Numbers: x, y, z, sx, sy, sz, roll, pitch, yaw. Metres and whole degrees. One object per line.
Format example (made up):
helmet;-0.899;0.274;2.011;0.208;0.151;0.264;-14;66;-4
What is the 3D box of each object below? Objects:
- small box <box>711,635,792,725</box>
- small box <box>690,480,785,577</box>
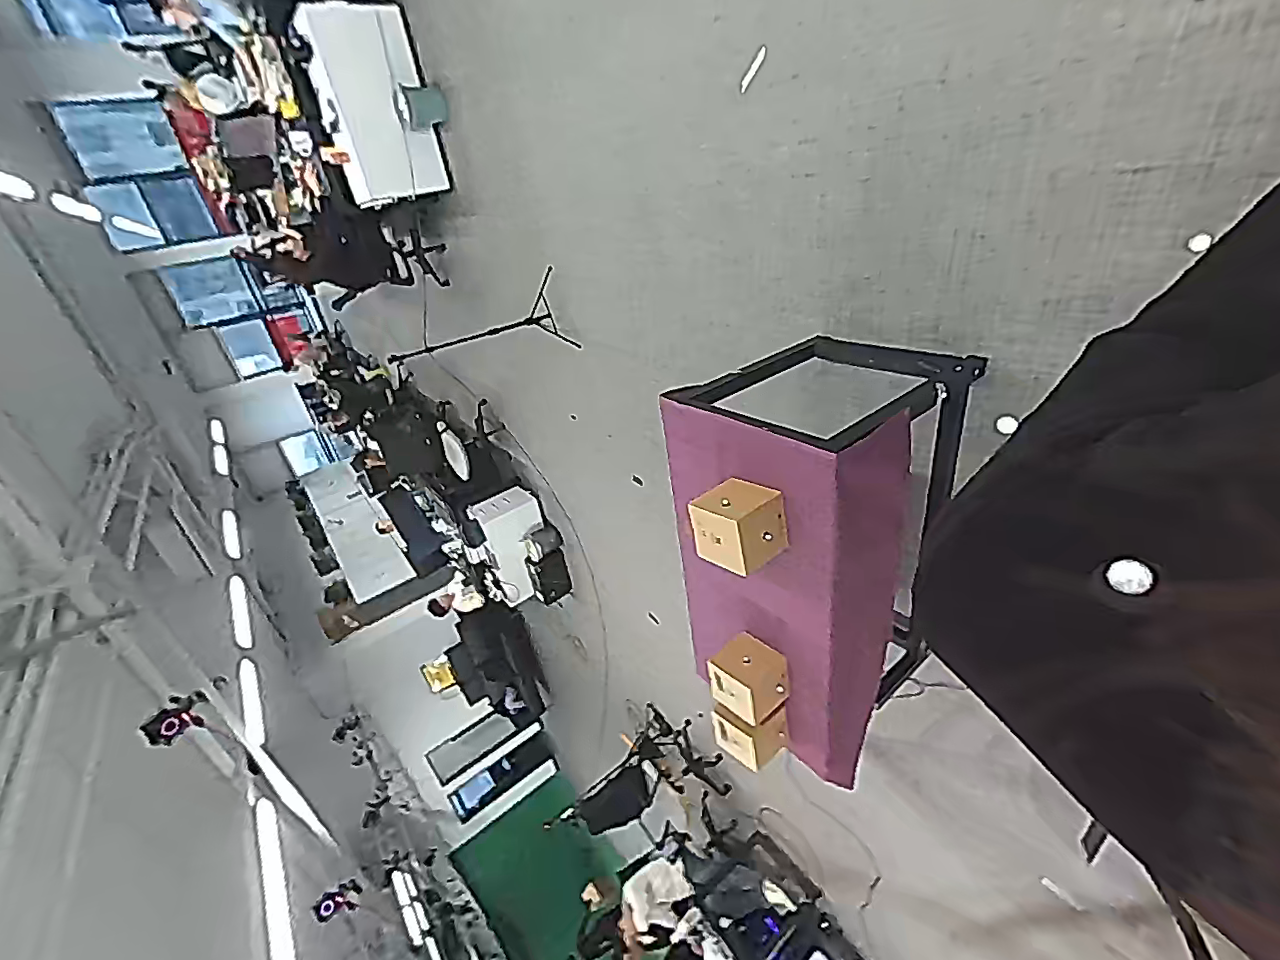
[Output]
small box;0.349;0.615;1.690;0.179;0.176;0.168;23;133;49
small box;0.259;0.117;1.403;0.179;0.176;0.168;21;131;52
